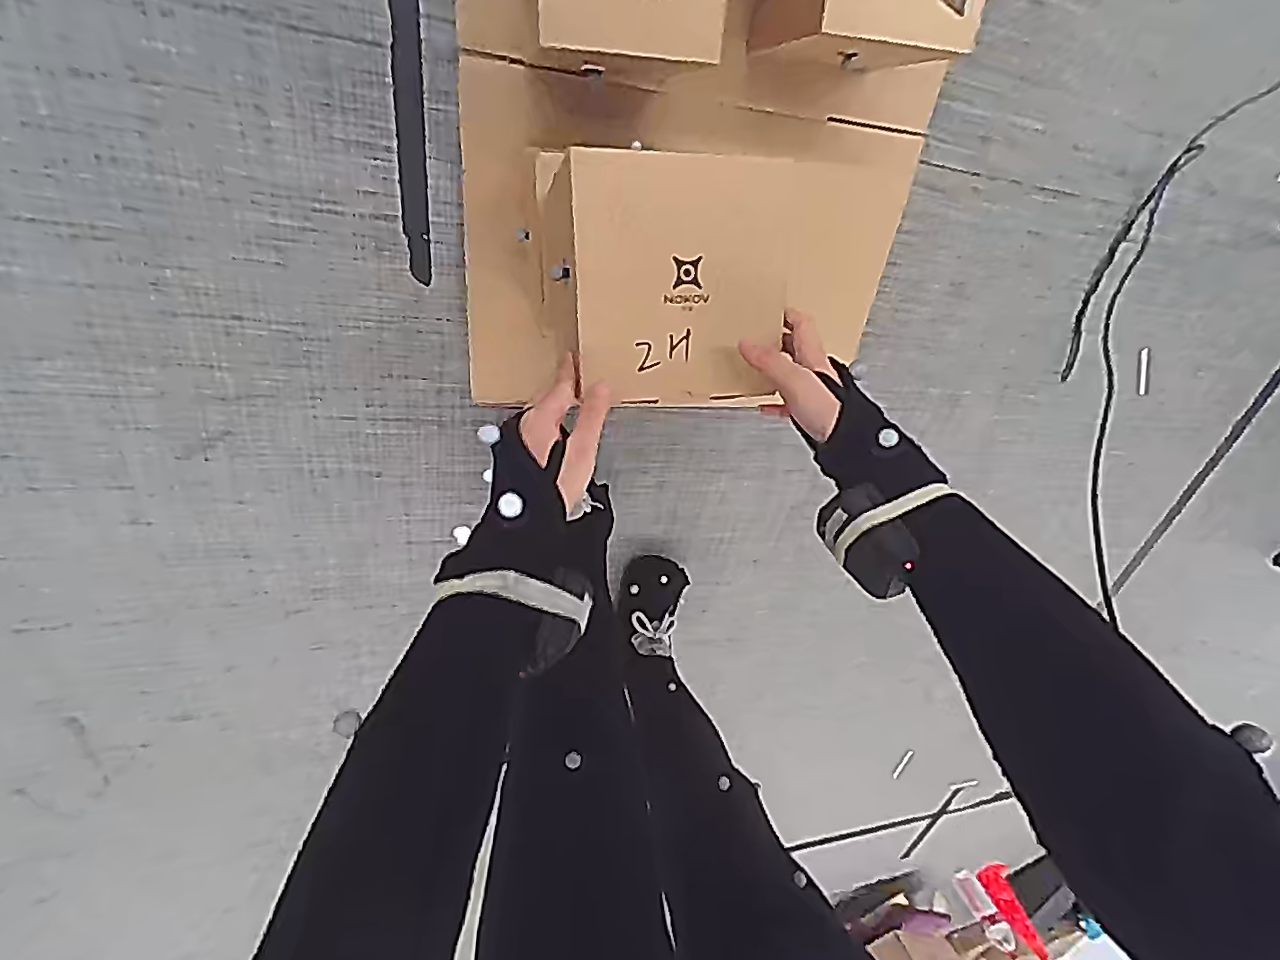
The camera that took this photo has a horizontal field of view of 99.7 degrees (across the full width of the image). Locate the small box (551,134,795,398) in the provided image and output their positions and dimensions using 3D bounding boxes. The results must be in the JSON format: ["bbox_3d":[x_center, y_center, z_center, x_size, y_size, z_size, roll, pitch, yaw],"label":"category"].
[{"bbox_3d":[0.014,-0.169,0.470,0.168,0.176,0.179,-4,107,-14],"label":"small box"}]

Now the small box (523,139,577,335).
[{"bbox_3d":[-0.041,-0.279,0.617,0.168,0.176,0.179,-6,124,-15],"label":"small box"}]

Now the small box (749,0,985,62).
[{"bbox_3d":[0.233,-0.536,0.542,0.179,0.176,0.168,-5,123,-14],"label":"small box"}]
